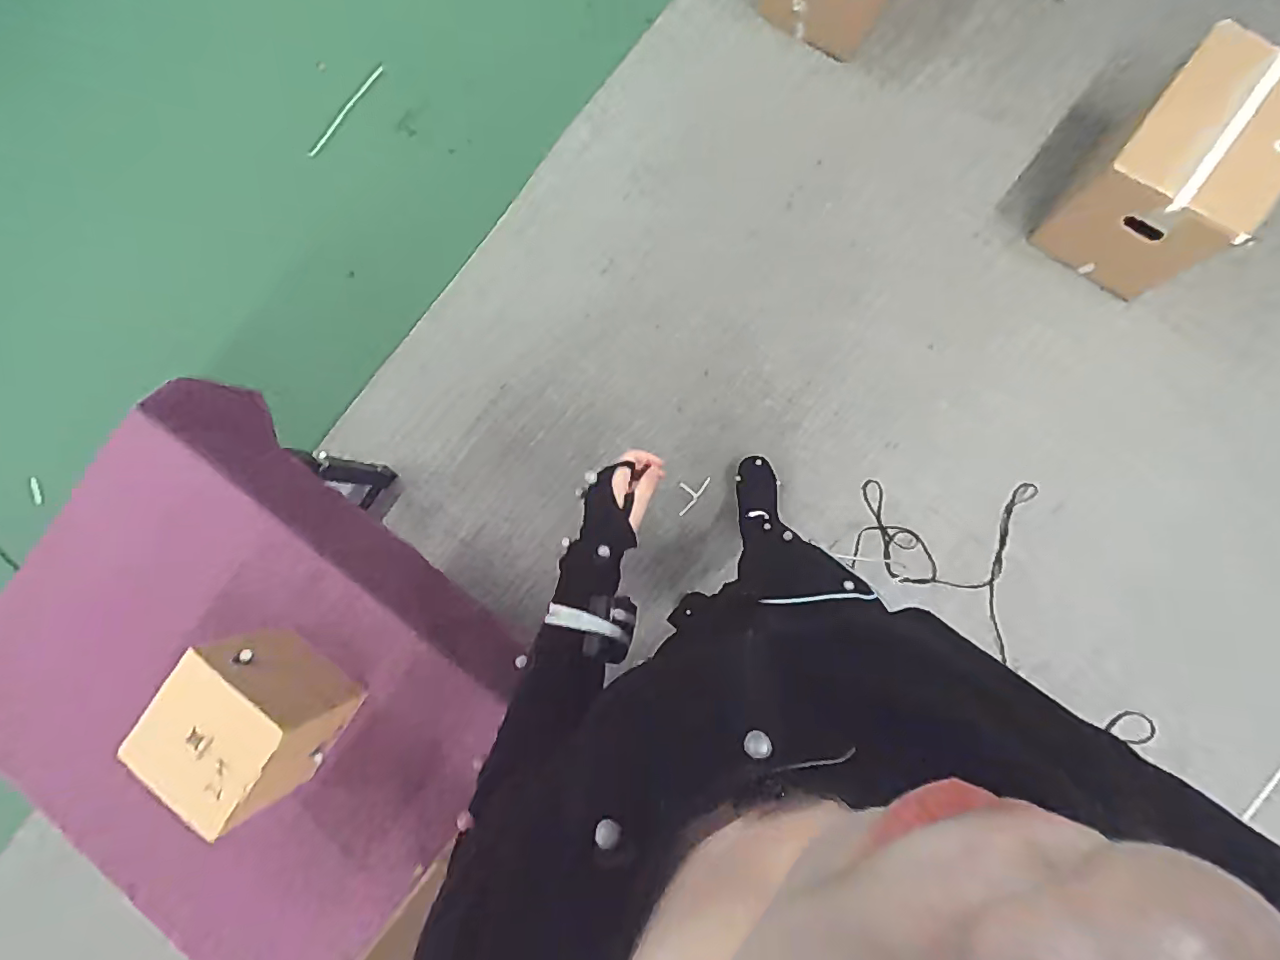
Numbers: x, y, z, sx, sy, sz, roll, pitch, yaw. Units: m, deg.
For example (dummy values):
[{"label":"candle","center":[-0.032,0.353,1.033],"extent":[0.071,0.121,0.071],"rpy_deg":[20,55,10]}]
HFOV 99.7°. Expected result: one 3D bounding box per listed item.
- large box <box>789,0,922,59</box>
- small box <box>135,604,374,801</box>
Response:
[{"label":"large box","center":[0.656,-1.463,1.435],"extent":[0.320,0.320,0.408],"rpy_deg":[39,89,9]},{"label":"small box","center":[-0.526,0.293,0.762],"extent":[0.179,0.176,0.168],"rpy_deg":[37,91,8]}]
